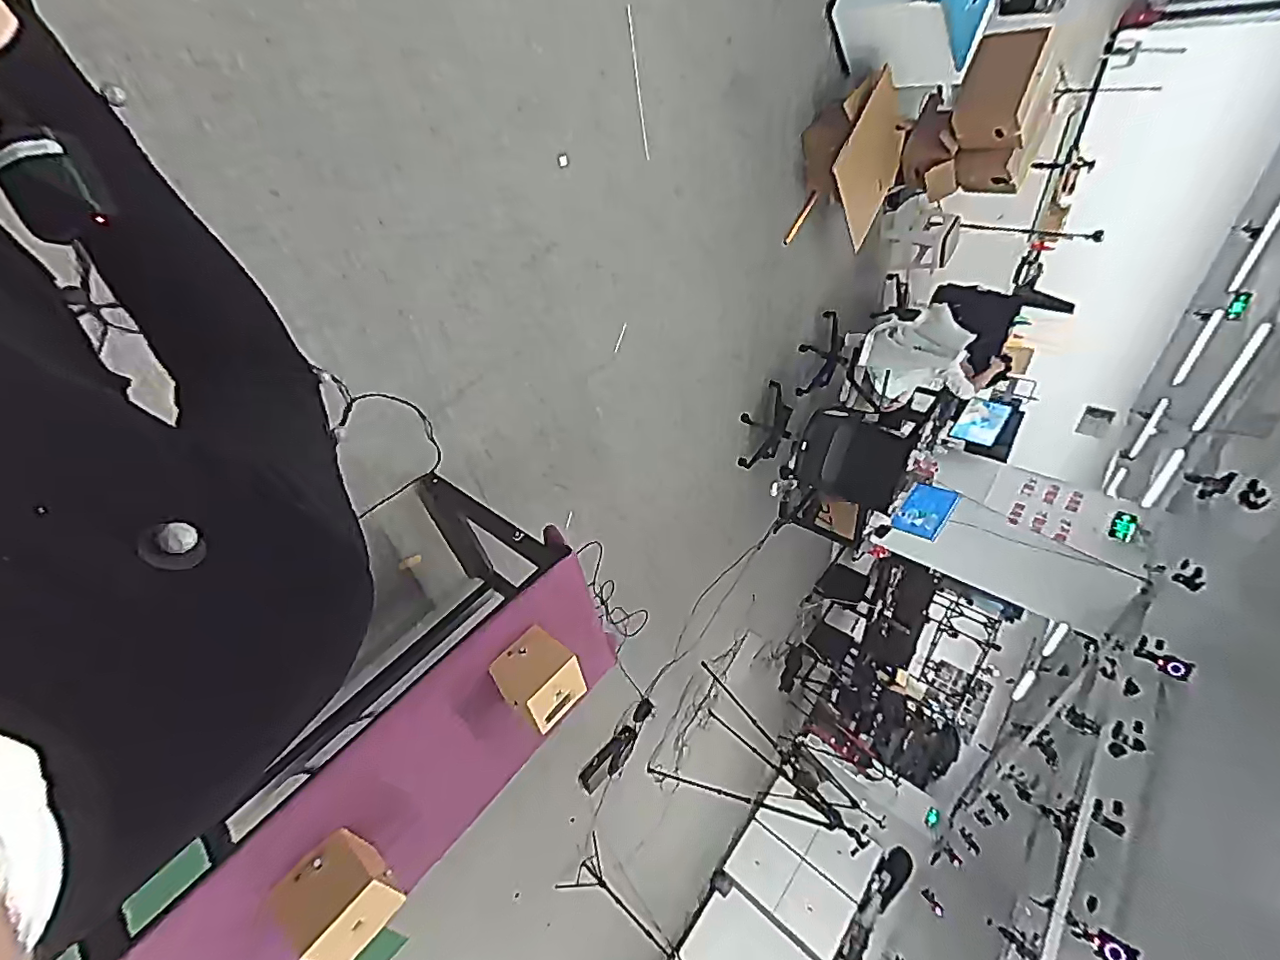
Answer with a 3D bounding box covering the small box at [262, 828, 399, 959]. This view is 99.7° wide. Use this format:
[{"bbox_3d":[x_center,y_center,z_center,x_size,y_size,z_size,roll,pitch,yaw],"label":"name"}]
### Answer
[{"bbox_3d":[-0.667,0.901,1.172,0.168,0.176,0.179,-42,141,-32],"label":"small box"}]
